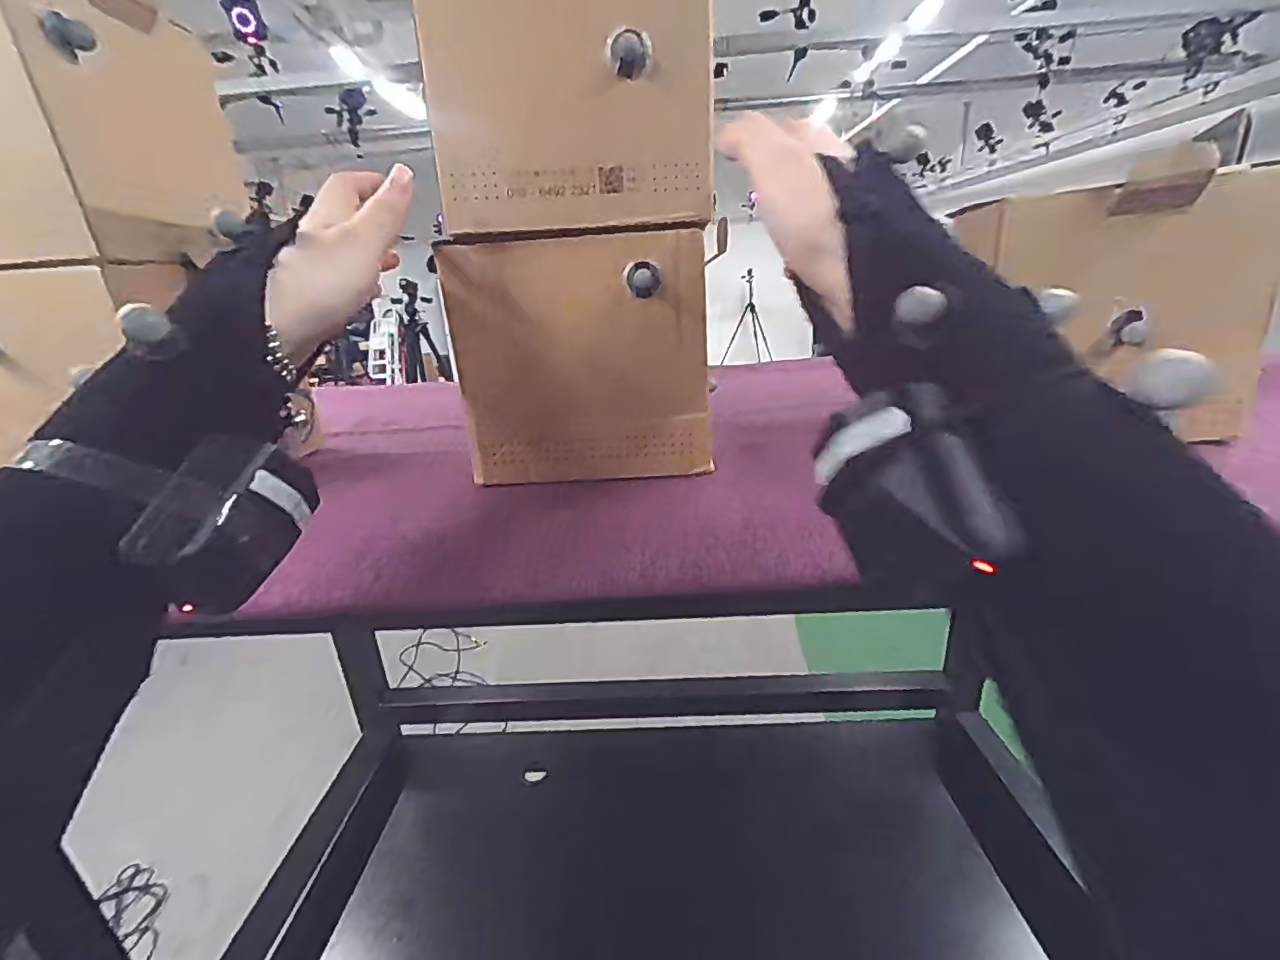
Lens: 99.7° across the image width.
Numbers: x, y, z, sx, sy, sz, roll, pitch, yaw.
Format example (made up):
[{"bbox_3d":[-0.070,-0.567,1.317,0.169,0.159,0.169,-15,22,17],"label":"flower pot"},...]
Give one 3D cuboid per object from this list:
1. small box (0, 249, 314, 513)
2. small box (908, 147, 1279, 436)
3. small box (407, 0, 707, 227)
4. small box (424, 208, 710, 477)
[{"bbox_3d":[-0.402,-0.080,0.425,0.179,0.176,0.168,-3,21,2],"label":"small box"},{"bbox_3d":[0.320,-0.131,0.415,0.168,0.176,0.179,-2,18,10],"label":"small box"},{"bbox_3d":[-0.045,-0.258,0.377,0.168,0.176,0.179,-2,18,0],"label":"small box"},{"bbox_3d":[-0.041,-0.104,0.429,0.179,0.176,0.168,-3,19,3],"label":"small box"}]
